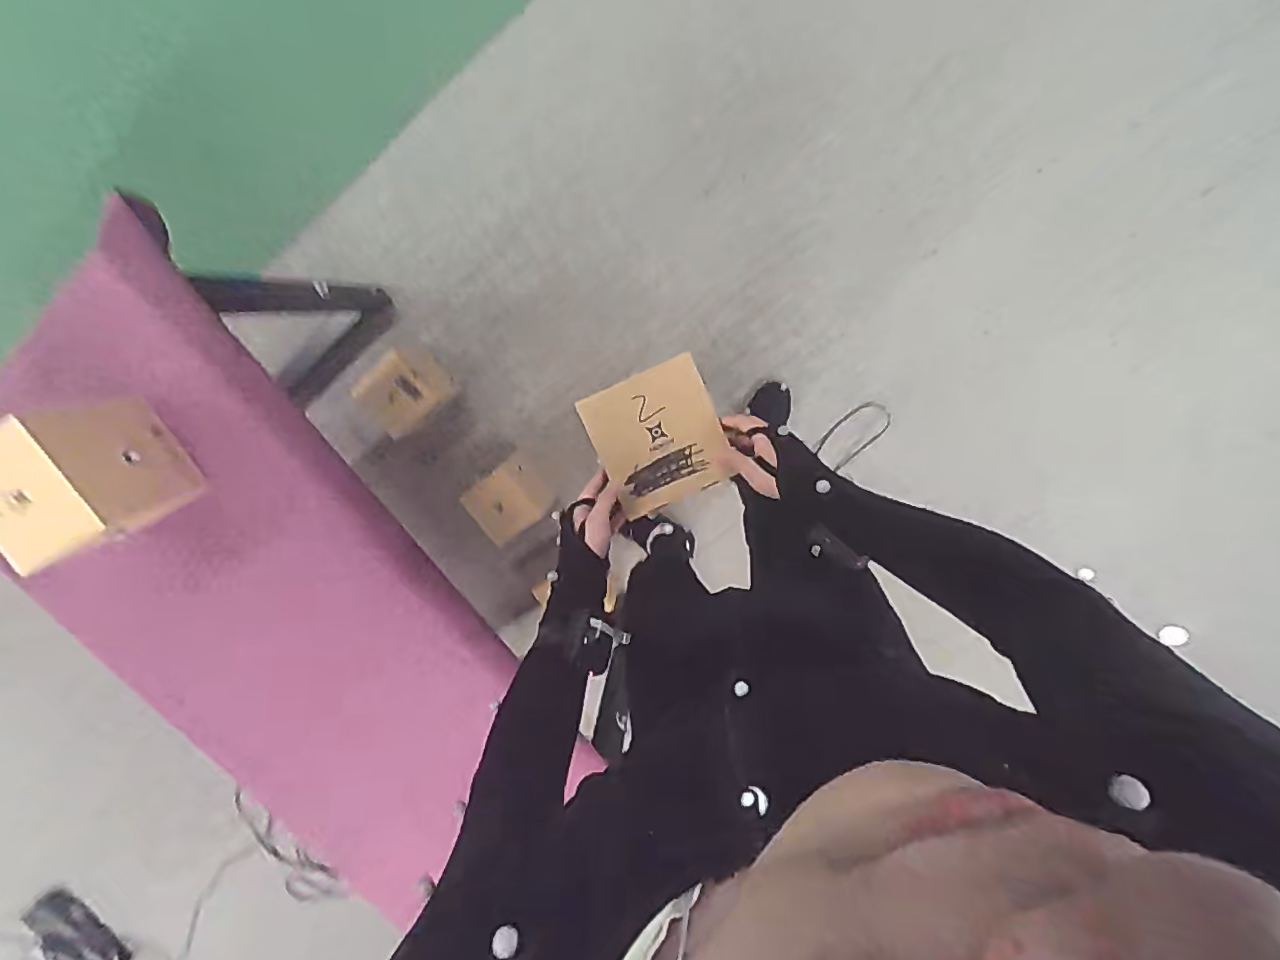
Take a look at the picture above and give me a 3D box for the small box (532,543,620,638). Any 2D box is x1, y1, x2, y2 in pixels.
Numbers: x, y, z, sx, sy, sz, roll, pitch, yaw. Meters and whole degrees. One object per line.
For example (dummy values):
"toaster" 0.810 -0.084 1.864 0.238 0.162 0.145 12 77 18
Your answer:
"small box" -0.177 0.315 1.570 0.168 0.176 0.179 -36 100 15

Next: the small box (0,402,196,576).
"small box" -0.797 0.003 0.775 0.179 0.176 0.168 -25 103 13

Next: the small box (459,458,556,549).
"small box" -0.362 0.054 1.509 0.168 0.176 0.179 -34 101 16

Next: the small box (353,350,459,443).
"small box" -0.612 -0.231 1.447 0.179 0.176 0.168 -38 99 16
